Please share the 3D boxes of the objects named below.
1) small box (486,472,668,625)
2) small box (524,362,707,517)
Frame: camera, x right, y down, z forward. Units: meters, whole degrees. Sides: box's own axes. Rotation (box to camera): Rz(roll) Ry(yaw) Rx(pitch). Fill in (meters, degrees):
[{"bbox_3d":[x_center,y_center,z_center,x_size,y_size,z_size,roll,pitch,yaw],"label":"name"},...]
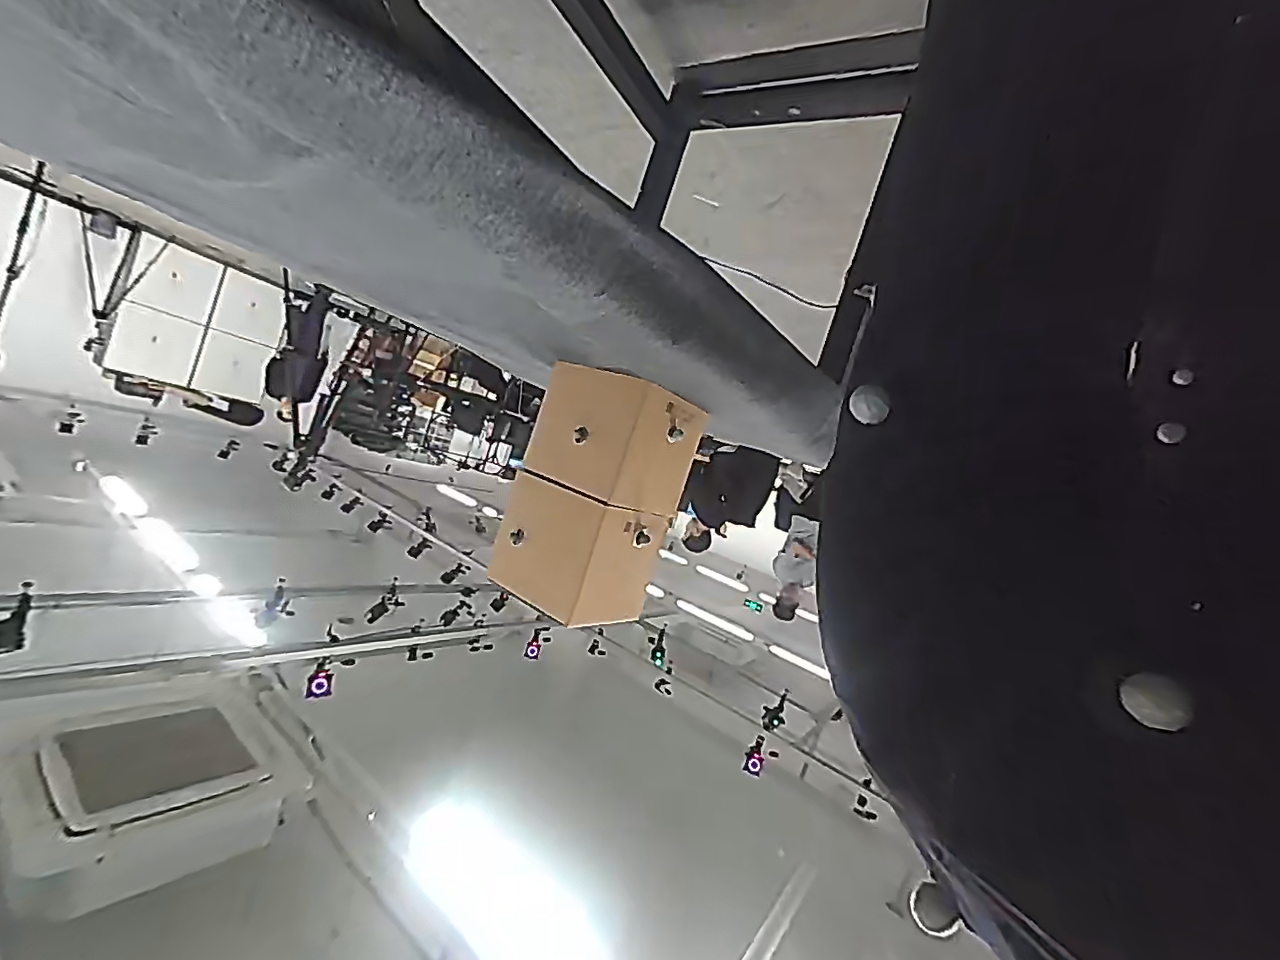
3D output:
[{"bbox_3d":[-0.086,0.092,0.783,0.179,0.176,0.168,19,-178,35],"label":"small box"},{"bbox_3d":[-0.031,-0.060,0.783,0.179,0.176,0.168,20,-178,36],"label":"small box"}]
